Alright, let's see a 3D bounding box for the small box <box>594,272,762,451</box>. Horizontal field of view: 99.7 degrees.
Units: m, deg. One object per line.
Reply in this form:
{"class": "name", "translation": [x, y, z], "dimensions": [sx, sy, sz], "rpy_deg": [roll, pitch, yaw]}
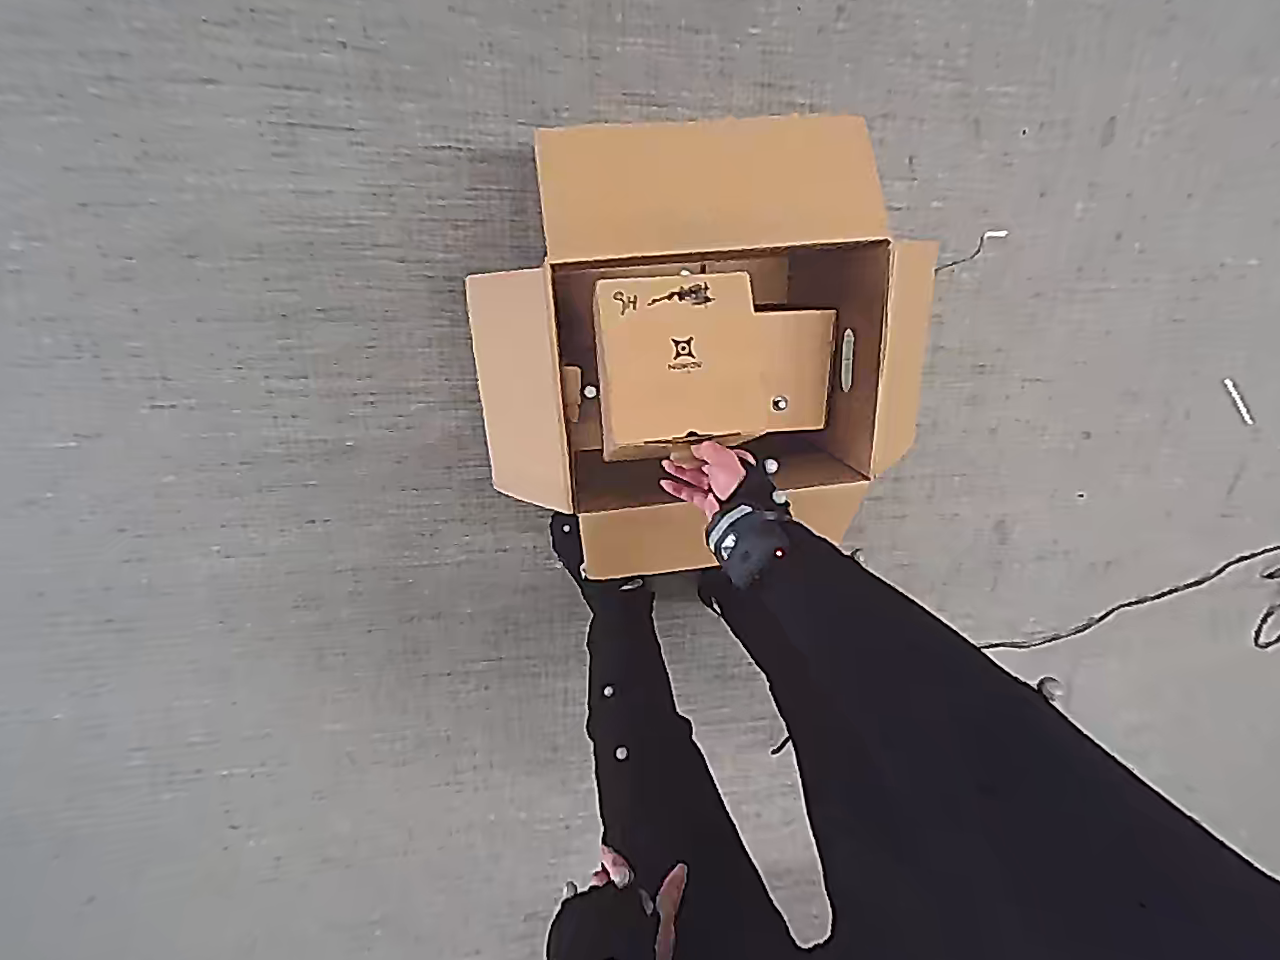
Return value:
{"class": "small box", "translation": [0.035, -0.128, 0.647], "dimensions": [0.168, 0.176, 0.179], "rpy_deg": [-5, 89, -7]}
